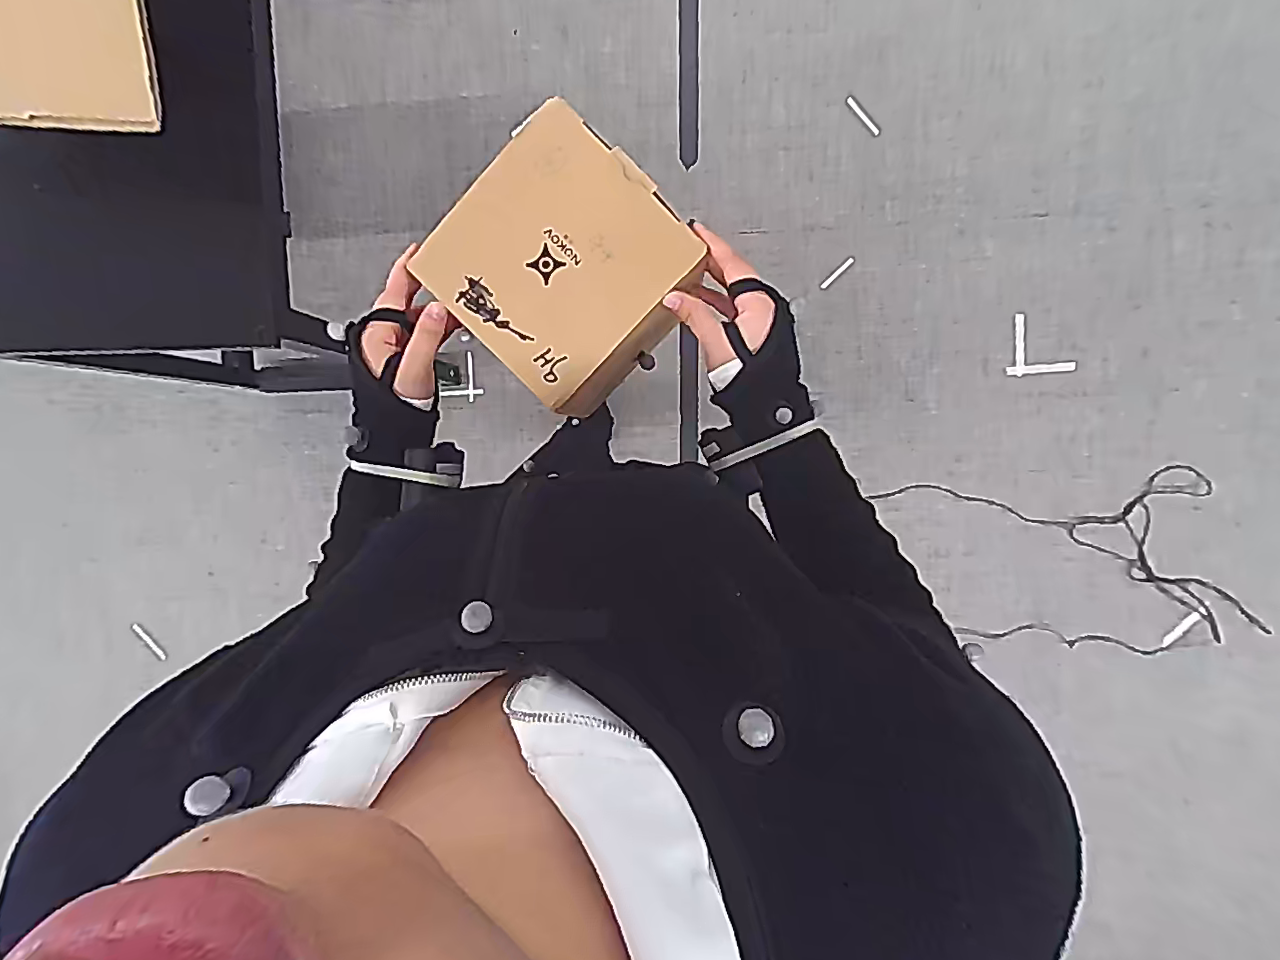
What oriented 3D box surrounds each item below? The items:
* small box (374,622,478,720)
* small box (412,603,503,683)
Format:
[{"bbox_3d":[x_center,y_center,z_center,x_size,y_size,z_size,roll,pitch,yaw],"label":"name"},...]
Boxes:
[{"bbox_3d":[-0.503,0.452,1.301,0.179,0.176,0.168,-8,92,5],"label":"small box"},{"bbox_3d":[-0.487,0.439,1.462,0.179,0.176,0.168,-5,94,3],"label":"small box"}]
